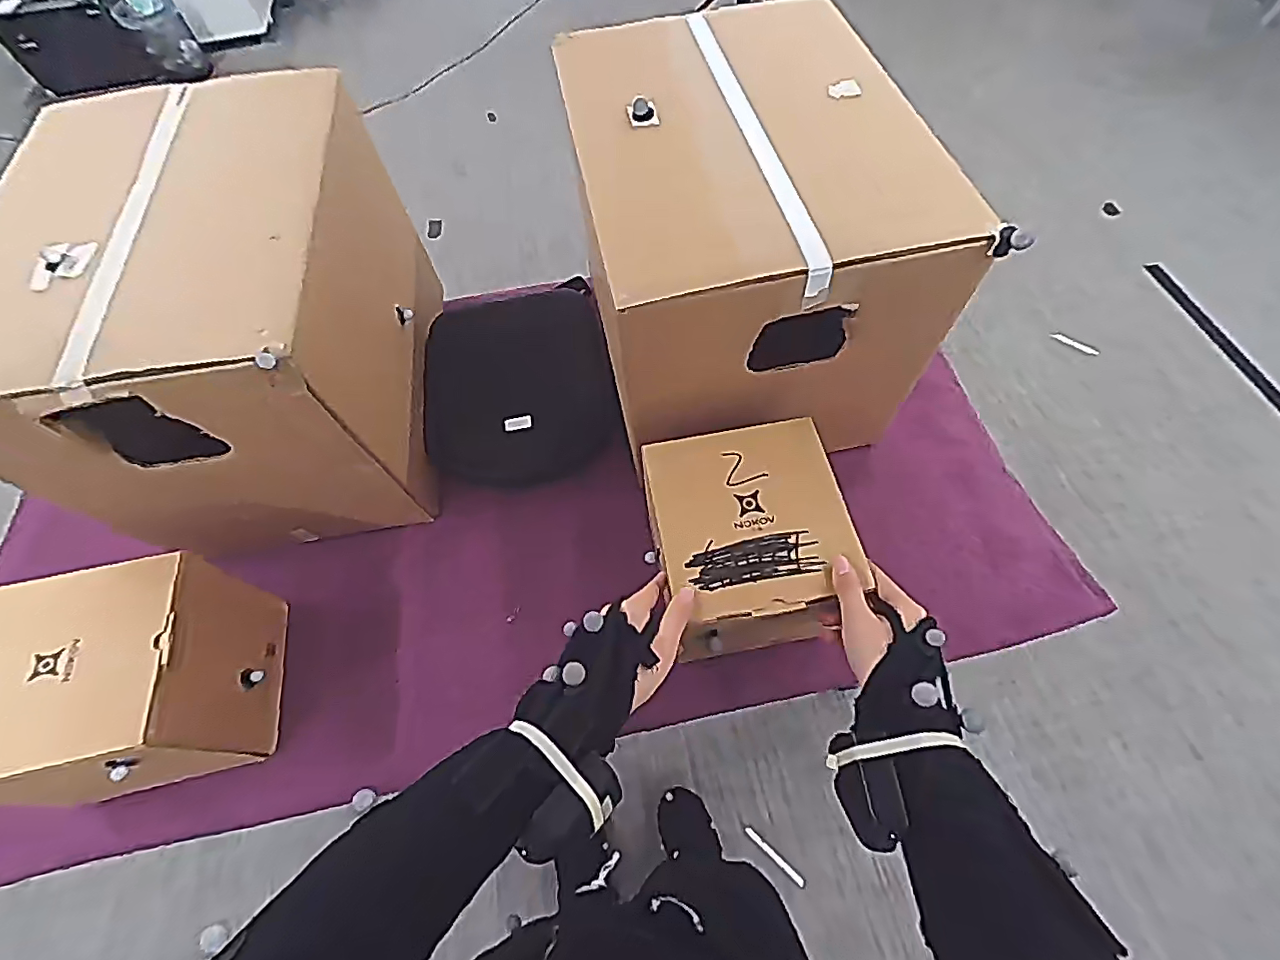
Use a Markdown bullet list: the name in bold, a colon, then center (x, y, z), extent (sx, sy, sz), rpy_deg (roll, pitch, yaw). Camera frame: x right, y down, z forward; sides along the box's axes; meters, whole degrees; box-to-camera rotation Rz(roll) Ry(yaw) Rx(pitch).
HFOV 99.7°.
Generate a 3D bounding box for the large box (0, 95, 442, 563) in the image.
- **large box**: center (-0.439, -0.158, 0.633), extent (0.320, 0.320, 0.408), rpy_deg (-10, 64, -1)

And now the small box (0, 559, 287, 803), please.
- **small box**: center (-0.482, 0.198, 0.517), extent (0.179, 0.176, 0.168), rpy_deg (-12, 61, -7)
